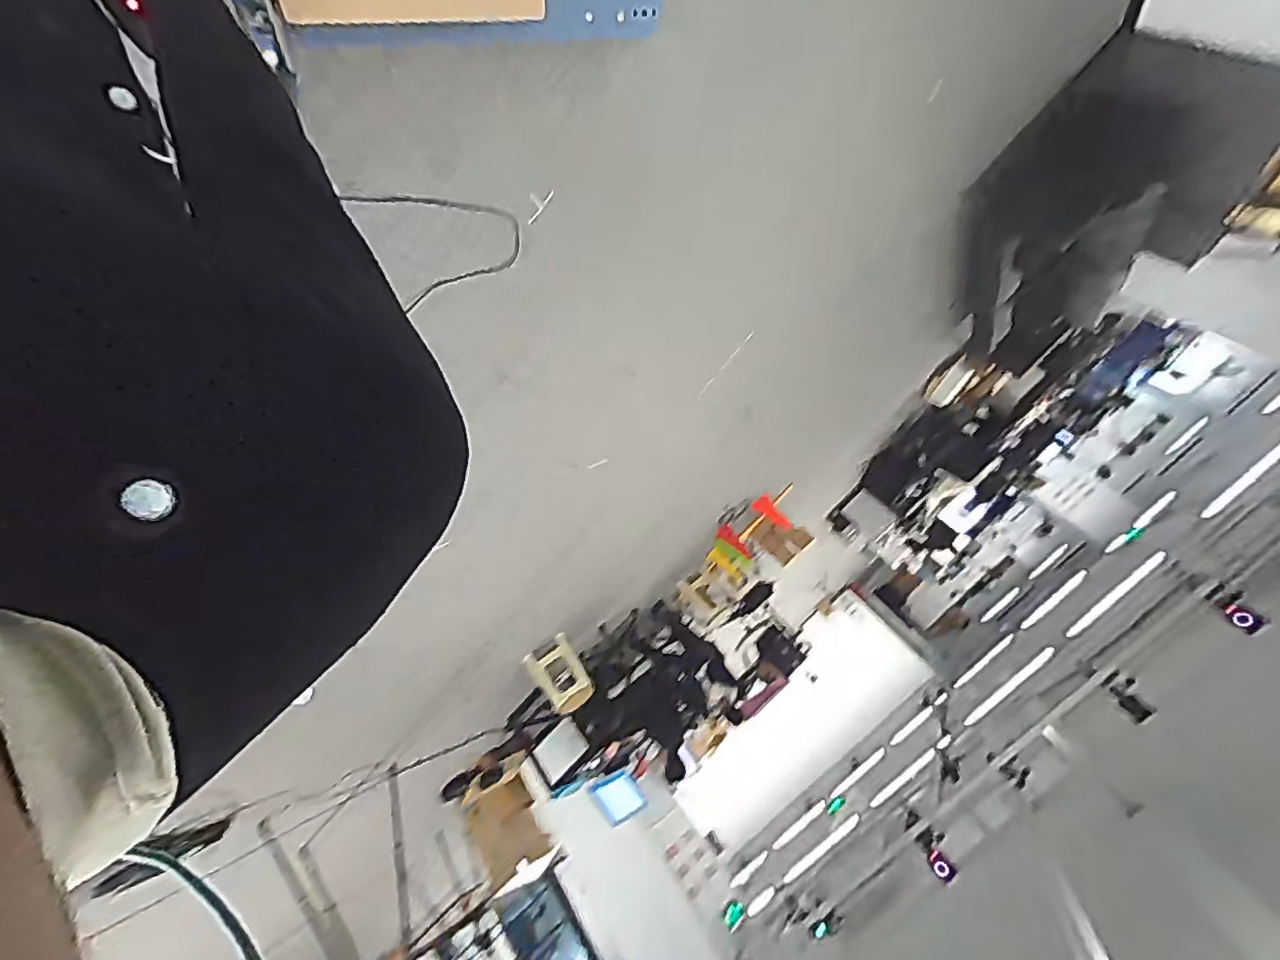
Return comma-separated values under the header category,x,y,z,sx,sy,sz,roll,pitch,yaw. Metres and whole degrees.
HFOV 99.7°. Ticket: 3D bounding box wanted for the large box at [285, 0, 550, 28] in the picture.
category,x,y,z,sx,sy,sz,roll,pitch,yaw
large box,-0.390,-0.929,0.823,0.408,0.320,0.320,-20,146,-21
